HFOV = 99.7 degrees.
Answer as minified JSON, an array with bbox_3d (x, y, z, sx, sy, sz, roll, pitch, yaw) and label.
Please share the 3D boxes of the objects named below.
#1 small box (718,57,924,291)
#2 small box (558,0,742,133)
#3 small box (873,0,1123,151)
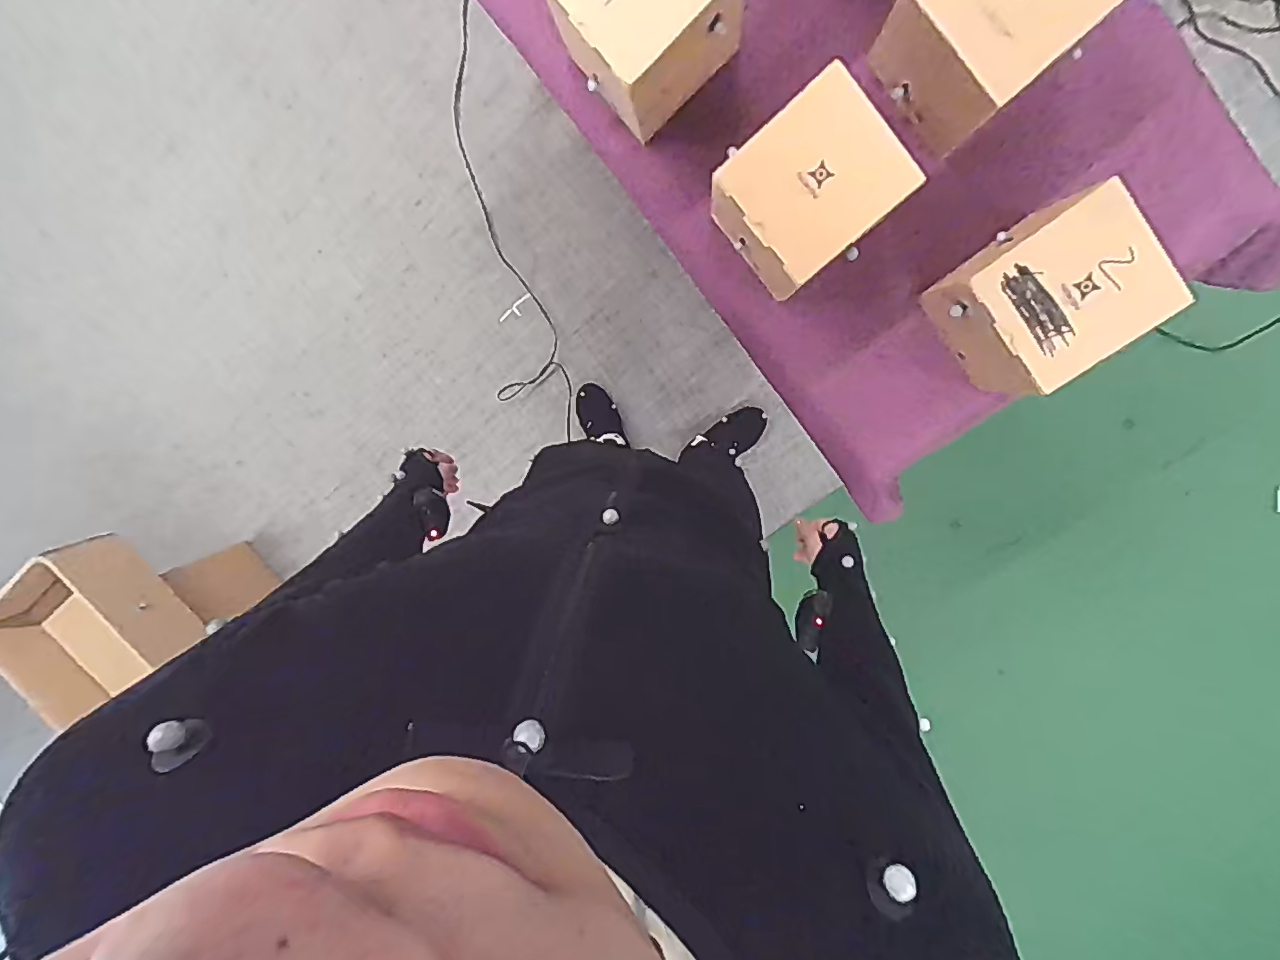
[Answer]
[{"bbox_3d":[0.213,-0.368,0.692,0.179,0.176,0.168,-39,96,14],"label":"small box"},{"bbox_3d":[0.010,-0.583,0.664,0.179,0.176,0.168,-39,95,13],"label":"small box"},{"bbox_3d":[0.407,-0.534,0.627,0.179,0.176,0.168,-40,94,15],"label":"small box"}]
